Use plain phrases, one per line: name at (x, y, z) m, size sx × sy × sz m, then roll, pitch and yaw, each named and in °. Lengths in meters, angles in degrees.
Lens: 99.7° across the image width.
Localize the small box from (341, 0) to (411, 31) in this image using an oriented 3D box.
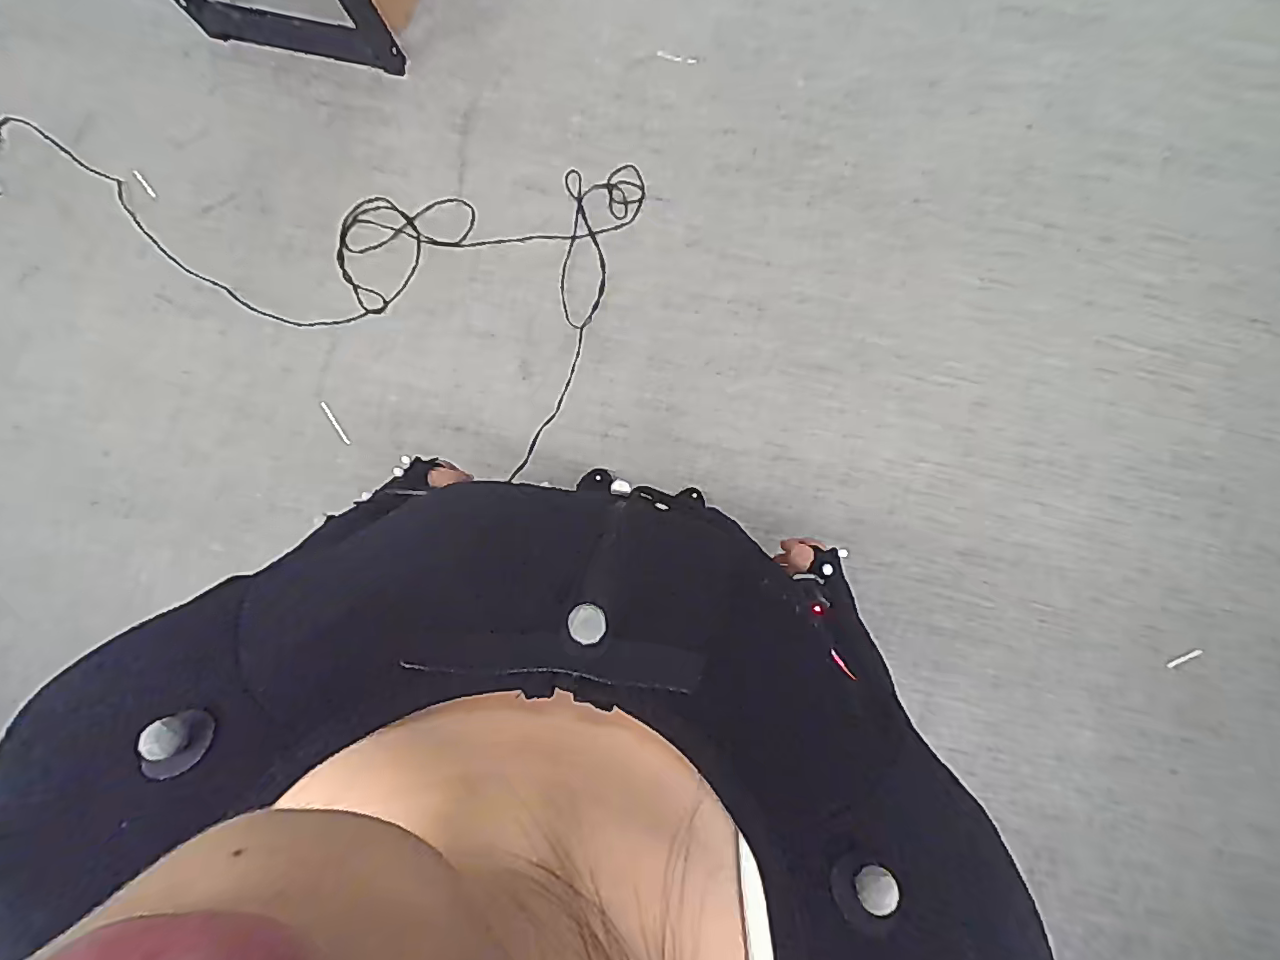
small box at (-0.725, -1.361, 1.439) m, size 0.168 × 0.176 × 0.179 m, roll 25°, pitch 91°, yaw 1°
